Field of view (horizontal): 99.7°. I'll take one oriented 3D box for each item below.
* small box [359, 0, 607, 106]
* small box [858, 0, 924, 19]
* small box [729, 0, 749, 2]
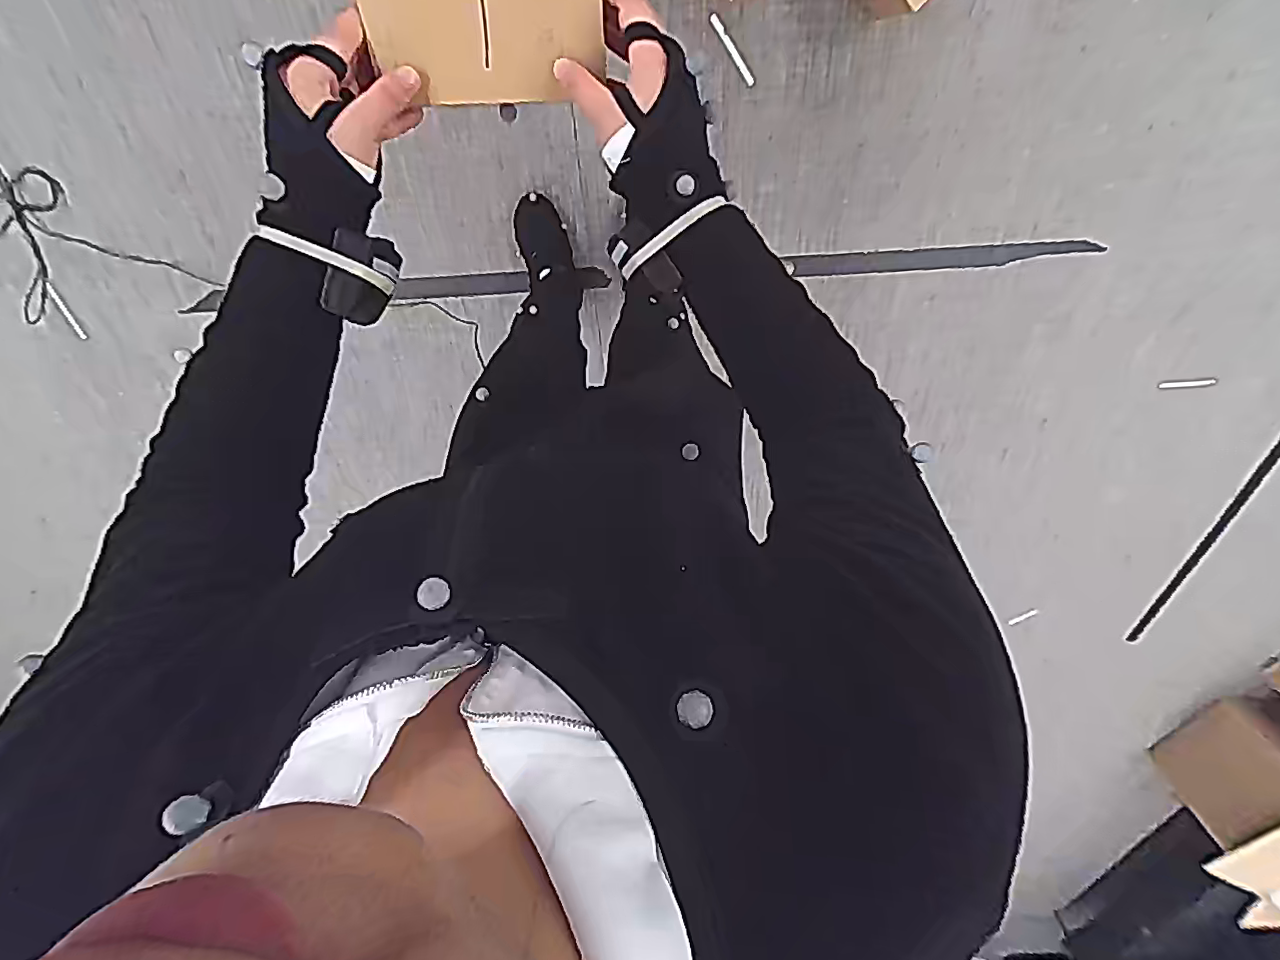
[{"bbox_3d":[-0.114,-0.395,0.412,0.168,0.176,0.179,-4,127,-3],"label":"small box"},{"bbox_3d":[0.445,-0.918,0.894,0.168,0.176,0.179,34,119,-24],"label":"small box"},{"bbox_3d":[0.141,-0.918,0.883,0.179,0.176,0.168,14,124,-12],"label":"small box"}]
